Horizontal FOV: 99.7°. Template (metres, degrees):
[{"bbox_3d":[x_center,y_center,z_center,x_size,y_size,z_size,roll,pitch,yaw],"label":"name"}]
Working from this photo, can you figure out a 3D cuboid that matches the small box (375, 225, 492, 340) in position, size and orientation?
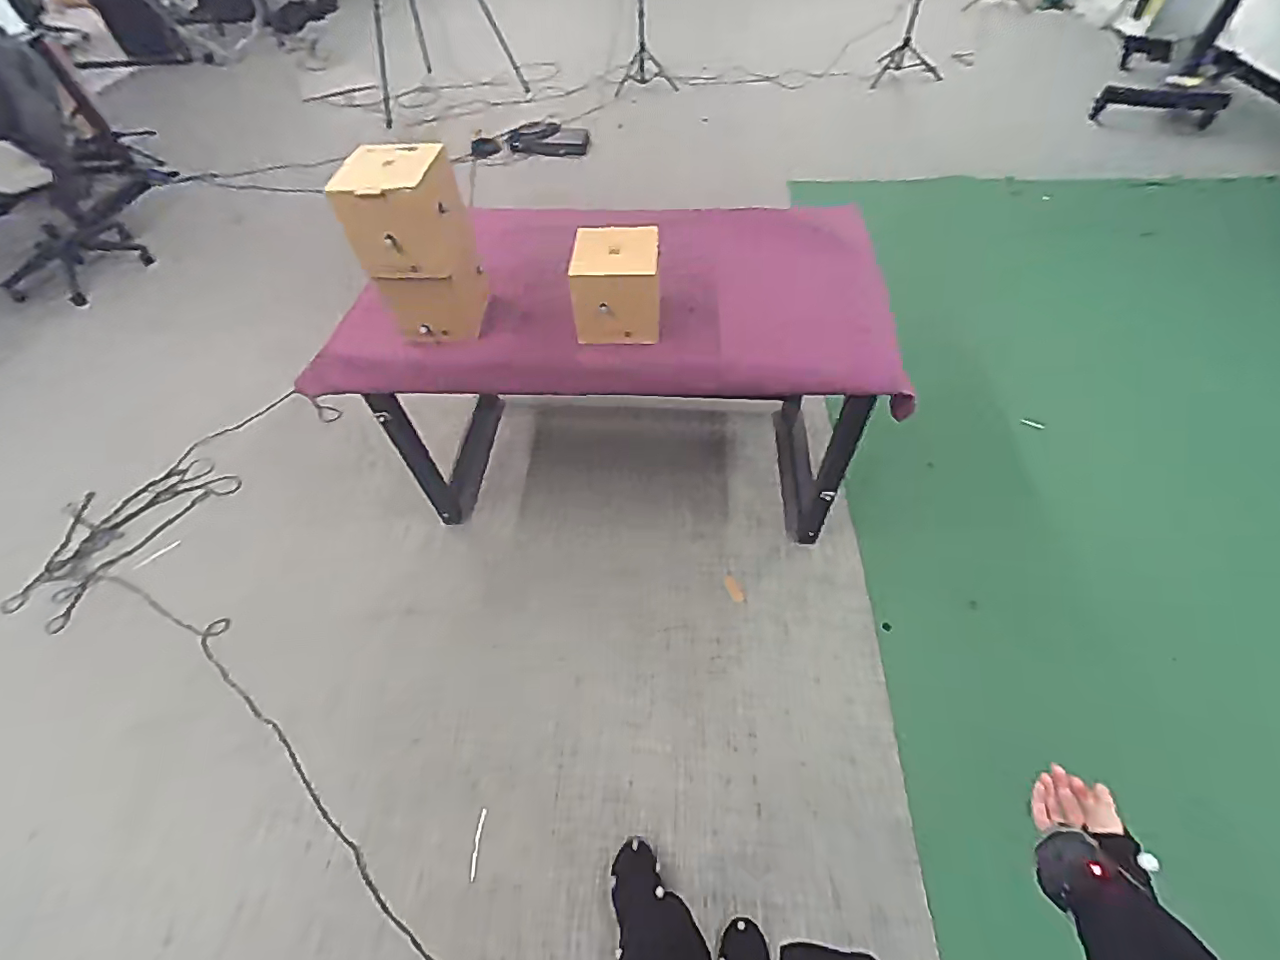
[{"bbox_3d":[-0.428,-0.422,1.156,0.168,0.176,0.179,1,54,4],"label":"small box"}]

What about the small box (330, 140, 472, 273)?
[{"bbox_3d":[-0.434,-0.510,1.018,0.168,0.176,0.179,2,55,5],"label":"small box"}]

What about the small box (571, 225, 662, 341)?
[{"bbox_3d":[-0.040,-0.405,1.126,0.168,0.176,0.179,1,52,4],"label":"small box"}]
